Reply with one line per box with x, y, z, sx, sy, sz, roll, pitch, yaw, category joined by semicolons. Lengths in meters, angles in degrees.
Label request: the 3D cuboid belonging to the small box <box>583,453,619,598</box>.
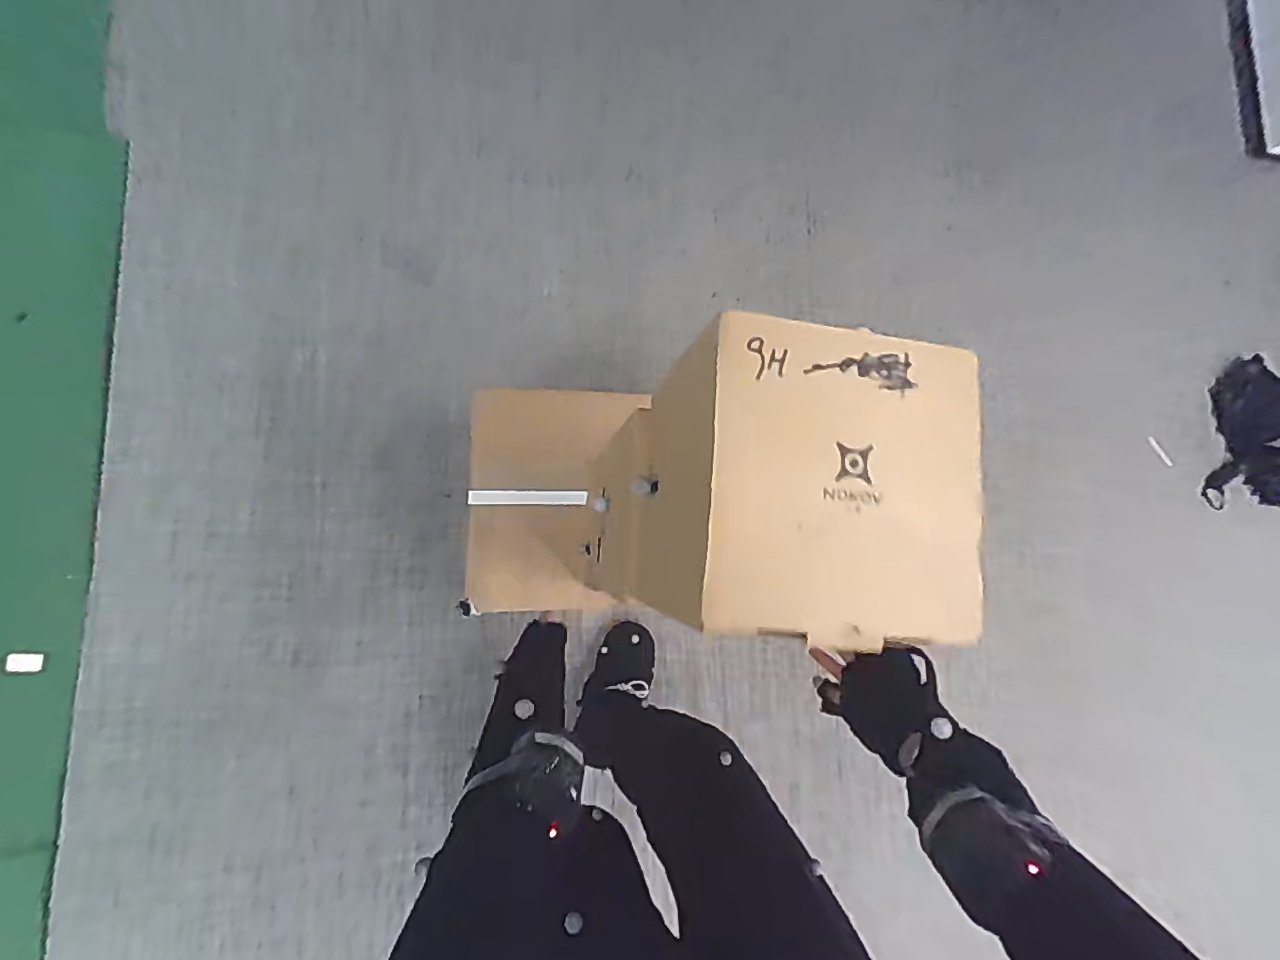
0.025;0.068;0.696;0.179;0.176;0.168;7;83;-13;small box

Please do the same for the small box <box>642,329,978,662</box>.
0.100;0.017;0.381;0.168;0.176;0.179;6;83;-11;small box

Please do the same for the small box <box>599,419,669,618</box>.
0.062;0.045;0.538;0.179;0.176;0.168;6;82;-11;small box
